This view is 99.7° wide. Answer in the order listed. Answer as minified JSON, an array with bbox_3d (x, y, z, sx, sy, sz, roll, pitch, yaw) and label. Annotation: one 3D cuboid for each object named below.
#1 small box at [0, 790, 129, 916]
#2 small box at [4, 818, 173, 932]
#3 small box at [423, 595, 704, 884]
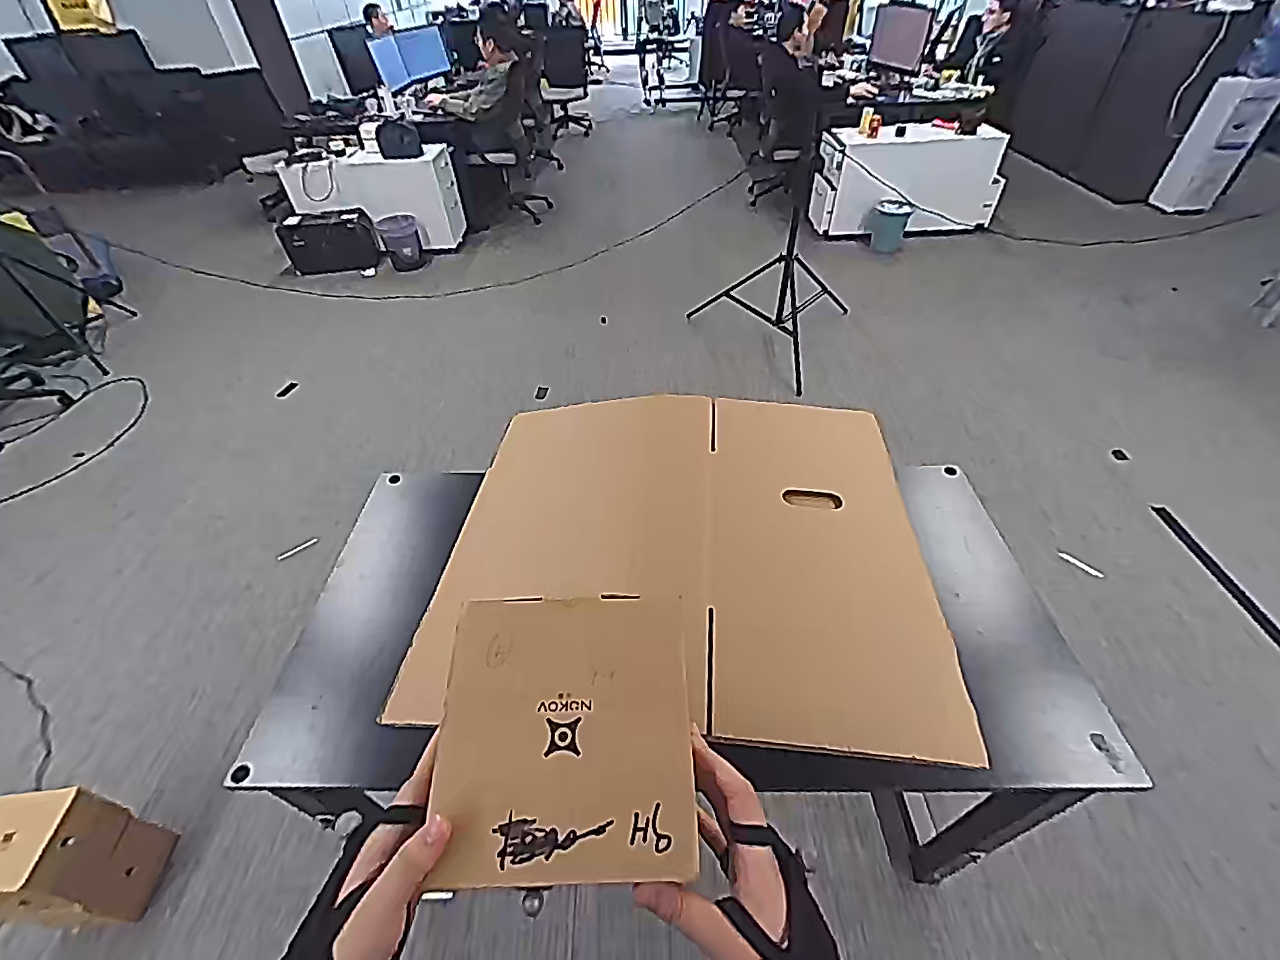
[{"bbox_3d":[-1.207,0.756,1.092,0.168,0.176,0.179,-5,43,-4],"label":"small box"},{"bbox_3d":[-1.200,0.877,1.201,0.168,0.176,0.179,-4,45,-1],"label":"small box"},{"bbox_3d":[-0.044,0.205,0.423,0.168,0.176,0.179,-2,55,1],"label":"small box"}]
